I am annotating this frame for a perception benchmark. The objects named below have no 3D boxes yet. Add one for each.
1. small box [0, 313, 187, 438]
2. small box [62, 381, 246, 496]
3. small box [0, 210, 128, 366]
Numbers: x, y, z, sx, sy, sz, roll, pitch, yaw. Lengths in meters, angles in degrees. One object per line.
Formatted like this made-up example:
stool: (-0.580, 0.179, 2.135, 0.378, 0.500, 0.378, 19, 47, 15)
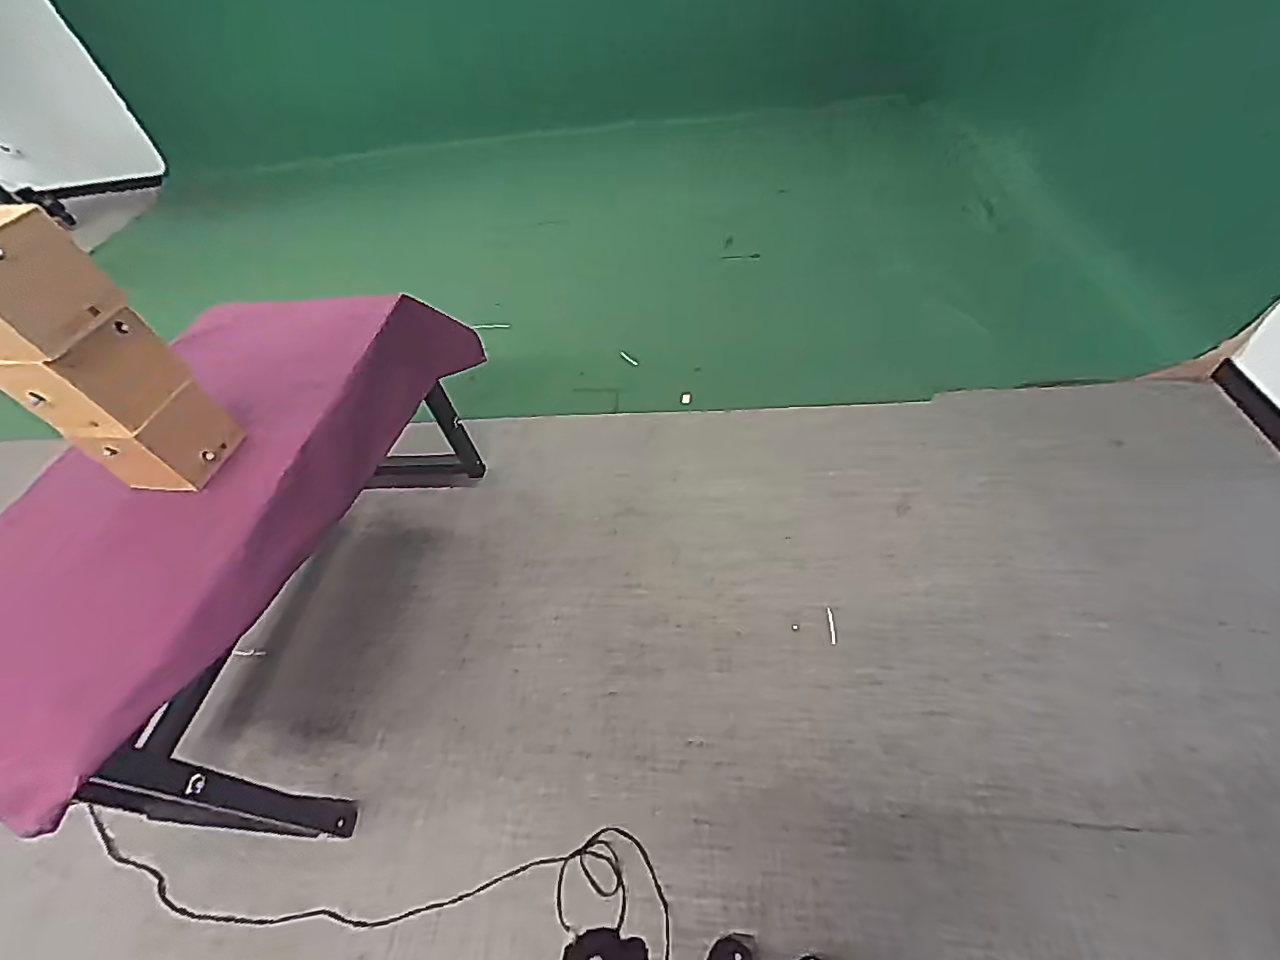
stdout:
small box: (-0.984, -0.190, 0.970, 0.168, 0.176, 0.179, 2, 52, 11)
small box: (-0.962, -0.083, 1.089, 0.179, 0.176, 0.168, 3, 52, 12)
small box: (-0.983, -0.292, 0.840, 0.179, 0.176, 0.168, 3, 52, 14)
